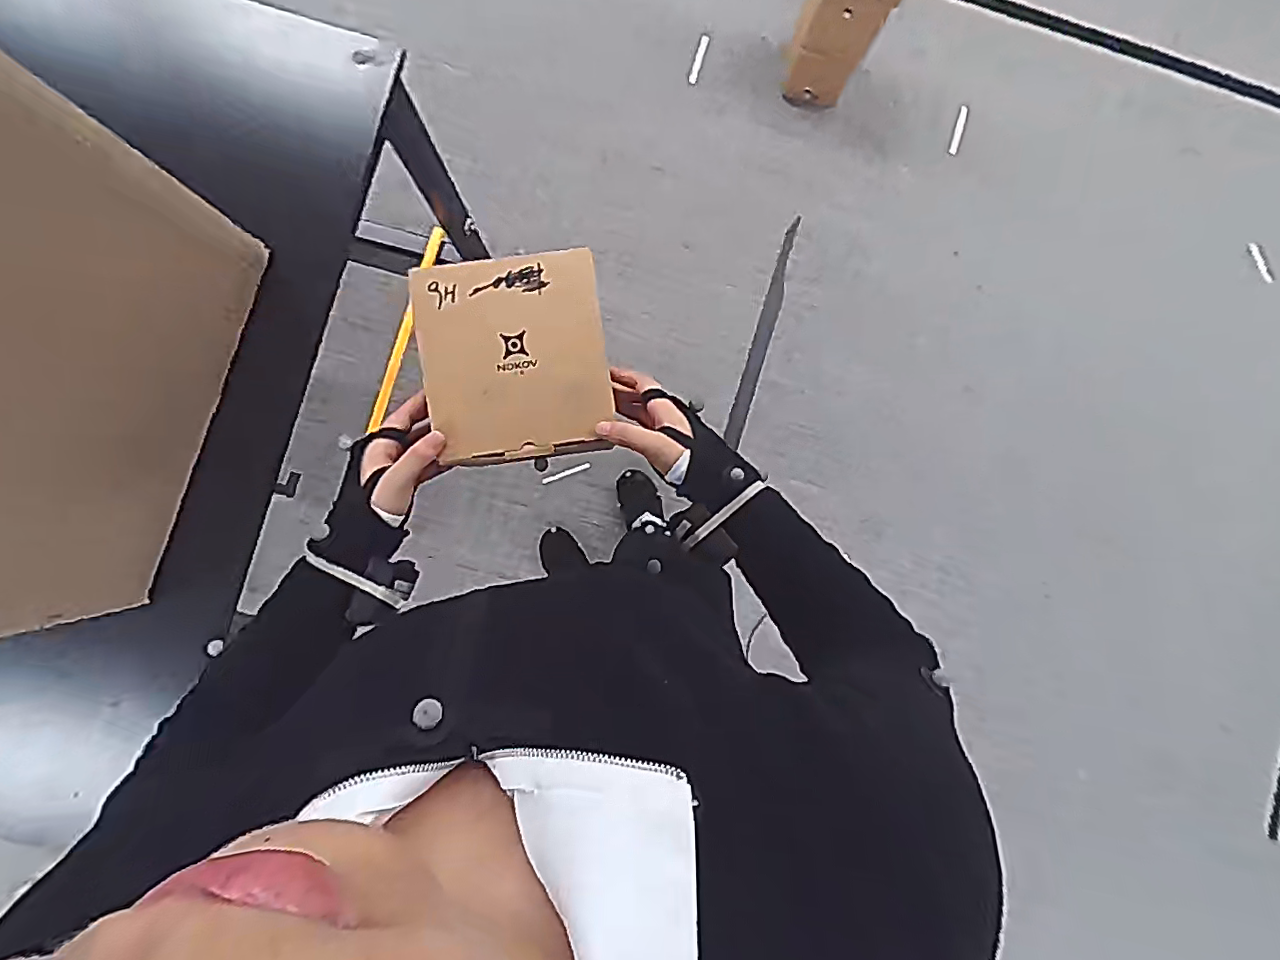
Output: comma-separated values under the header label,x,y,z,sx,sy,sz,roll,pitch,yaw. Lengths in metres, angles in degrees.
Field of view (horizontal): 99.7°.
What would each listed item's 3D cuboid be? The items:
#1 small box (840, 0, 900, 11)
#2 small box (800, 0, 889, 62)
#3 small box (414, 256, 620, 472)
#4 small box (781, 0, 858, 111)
label,x,y,z,sx,sy,sz,roll,pitch,yaw
small box,0.535,-1.198,1.186,0.168,0.176,0.179,8,87,-2
small box,0.520,-1.197,1.351,0.179,0.176,0.168,12,87,-3
small box,-0.110,-0.107,0.557,0.168,0.176,0.179,-8,92,-3
small box,0.506,-1.189,1.515,0.168,0.176,0.179,9,88,-2
